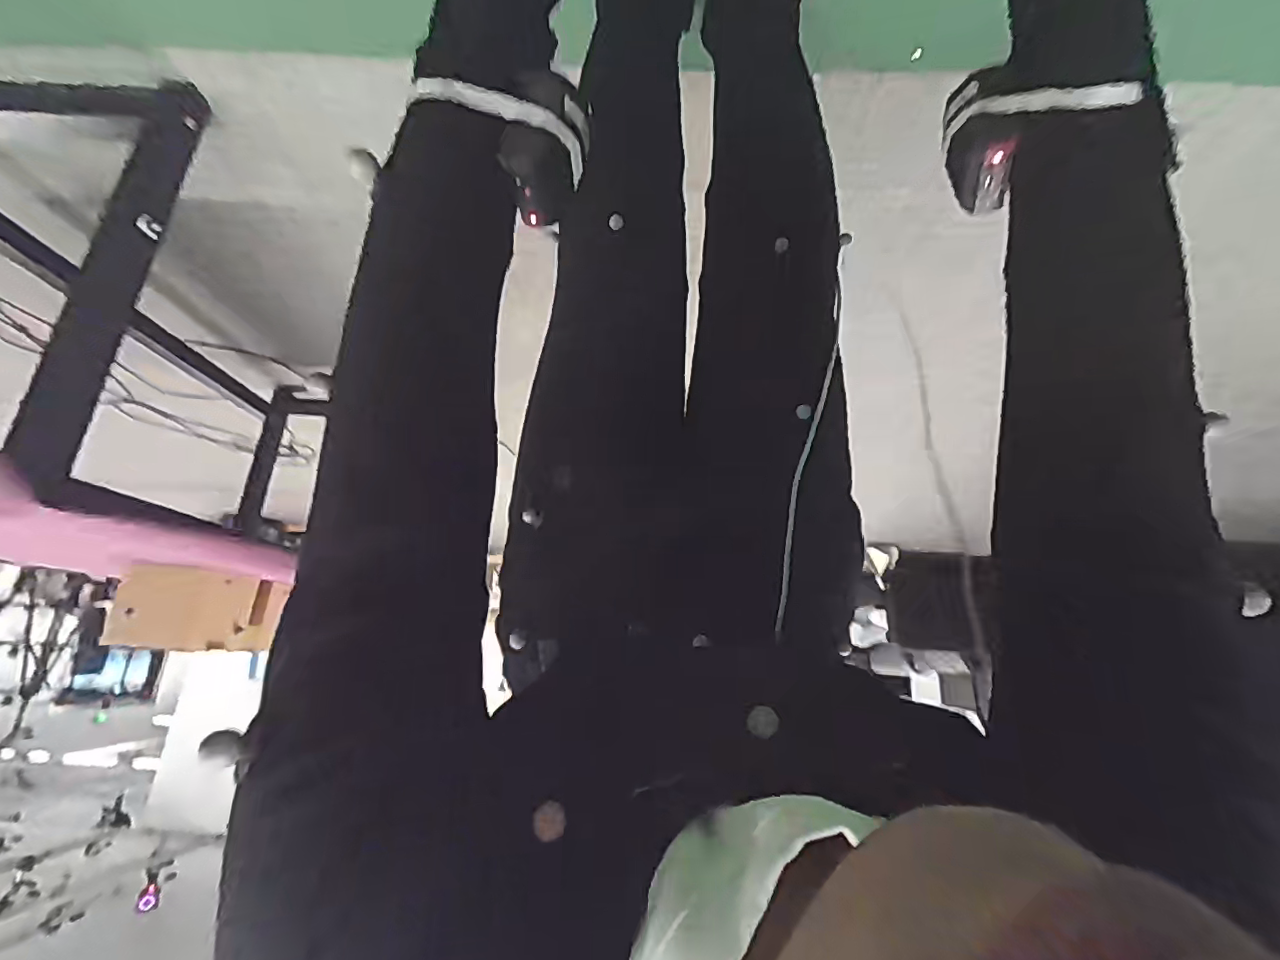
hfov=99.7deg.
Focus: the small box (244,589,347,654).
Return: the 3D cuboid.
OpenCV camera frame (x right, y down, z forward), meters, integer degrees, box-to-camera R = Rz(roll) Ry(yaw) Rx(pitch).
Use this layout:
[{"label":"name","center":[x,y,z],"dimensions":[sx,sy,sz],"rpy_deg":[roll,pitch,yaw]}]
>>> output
[{"label":"small box","center":[-0.996,0.413,1.580],"dimensions":[0.179,0.176,0.168],"rpy_deg":[4,162,0]}]
